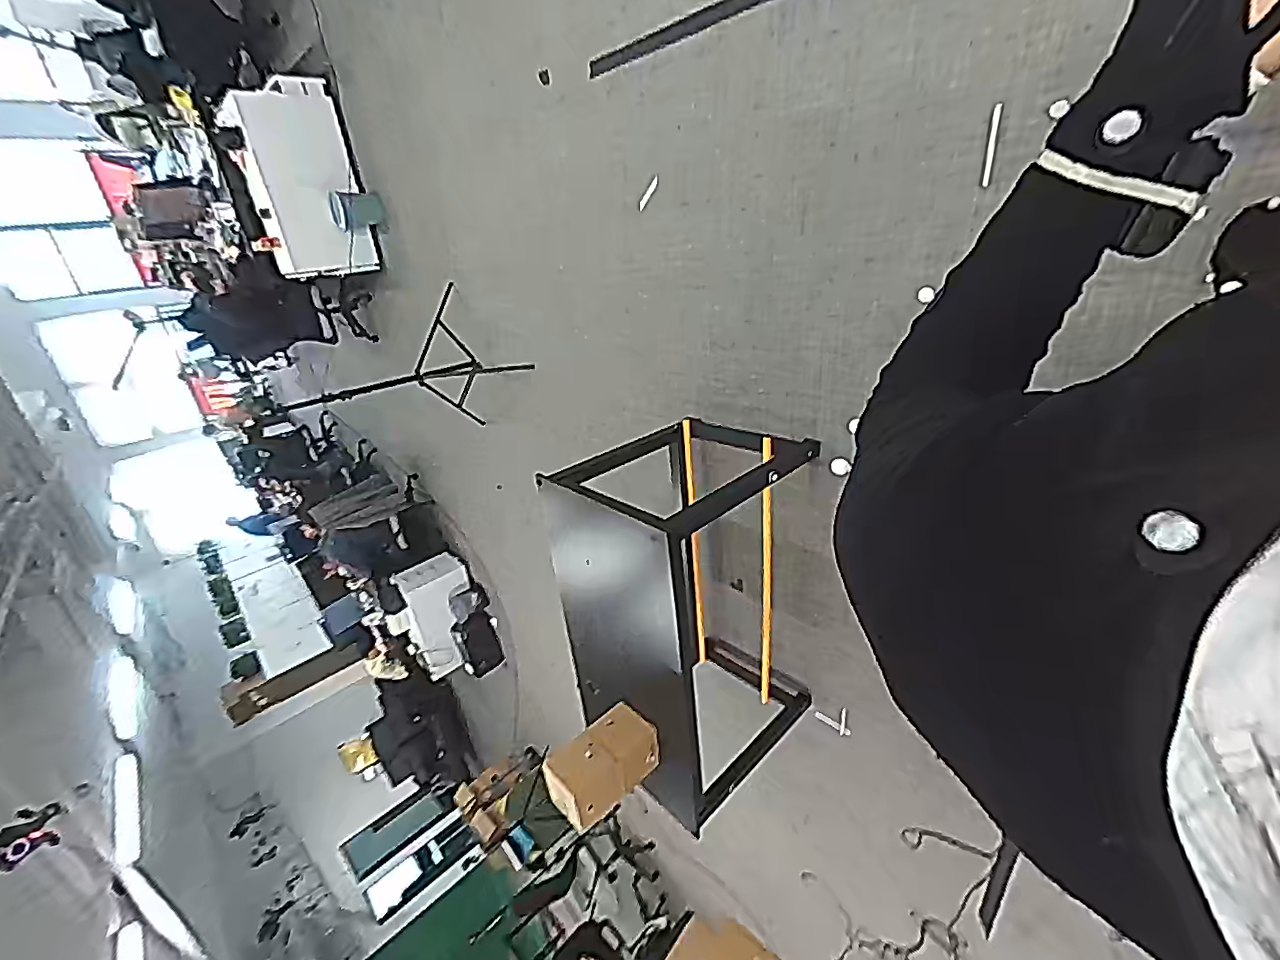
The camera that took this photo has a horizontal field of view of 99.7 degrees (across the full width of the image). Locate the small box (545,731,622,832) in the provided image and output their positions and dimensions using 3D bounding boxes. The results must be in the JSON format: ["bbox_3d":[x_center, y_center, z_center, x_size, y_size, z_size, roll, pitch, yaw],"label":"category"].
[{"bbox_3d":[-0.171,0.939,1.696,0.168,0.176,0.179,19,125,45],"label":"small box"}]

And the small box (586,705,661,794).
[{"bbox_3d":[-0.051,0.880,1.792,0.179,0.176,0.168,19,126,44],"label":"small box"}]
